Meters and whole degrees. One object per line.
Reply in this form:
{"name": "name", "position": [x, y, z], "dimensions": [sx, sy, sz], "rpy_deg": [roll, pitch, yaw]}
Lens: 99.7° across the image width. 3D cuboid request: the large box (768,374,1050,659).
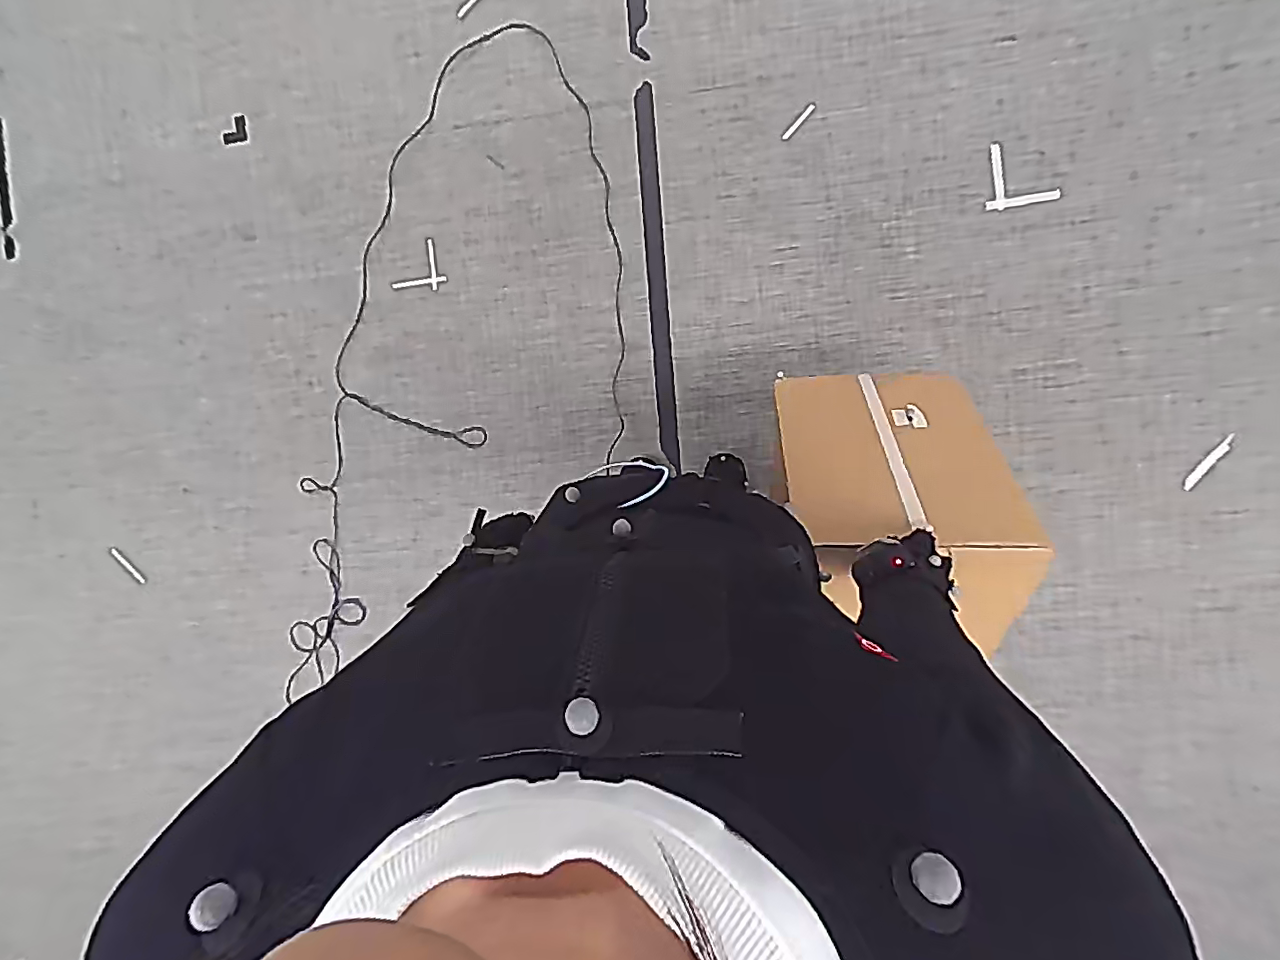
{"name": "large box", "position": [0.403, 0.058, 0.945], "dimensions": [0.320, 0.408, 0.320], "rpy_deg": [-1, 132, 7]}
